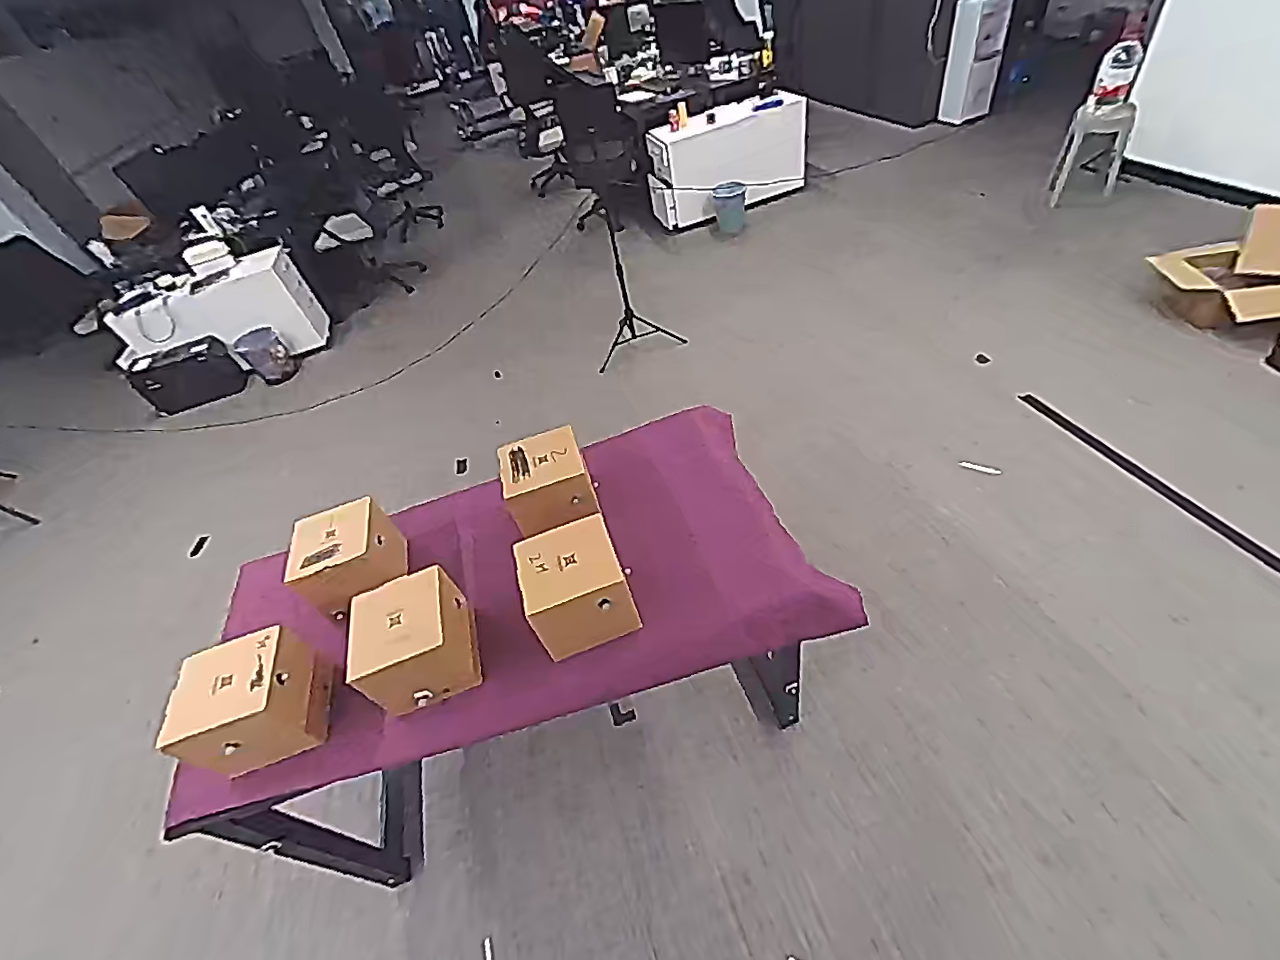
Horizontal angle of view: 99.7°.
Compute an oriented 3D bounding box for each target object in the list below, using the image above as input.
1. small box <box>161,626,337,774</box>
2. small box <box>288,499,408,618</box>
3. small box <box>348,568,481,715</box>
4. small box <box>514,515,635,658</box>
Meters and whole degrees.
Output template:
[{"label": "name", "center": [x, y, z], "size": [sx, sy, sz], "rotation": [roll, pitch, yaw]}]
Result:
[{"label": "small box", "center": [-0.686, 0.399, 0.974], "size": [0.179, 0.176, 0.168], "rotation": [-20, 46, -4]}, {"label": "small box", "center": [-0.621, 0.177, 1.173], "size": [0.168, 0.176, 0.179], "rotation": [-20, 45, -5]}, {"label": "small box", "center": [-0.409, 0.299, 1.000], "size": [0.168, 0.176, 0.179], "rotation": [-21, 47, -4]}, {"label": "small box", "center": [-0.117, 0.201, 1.011], "size": [0.179, 0.176, 0.168], "rotation": [-20, 45, -4]}]
